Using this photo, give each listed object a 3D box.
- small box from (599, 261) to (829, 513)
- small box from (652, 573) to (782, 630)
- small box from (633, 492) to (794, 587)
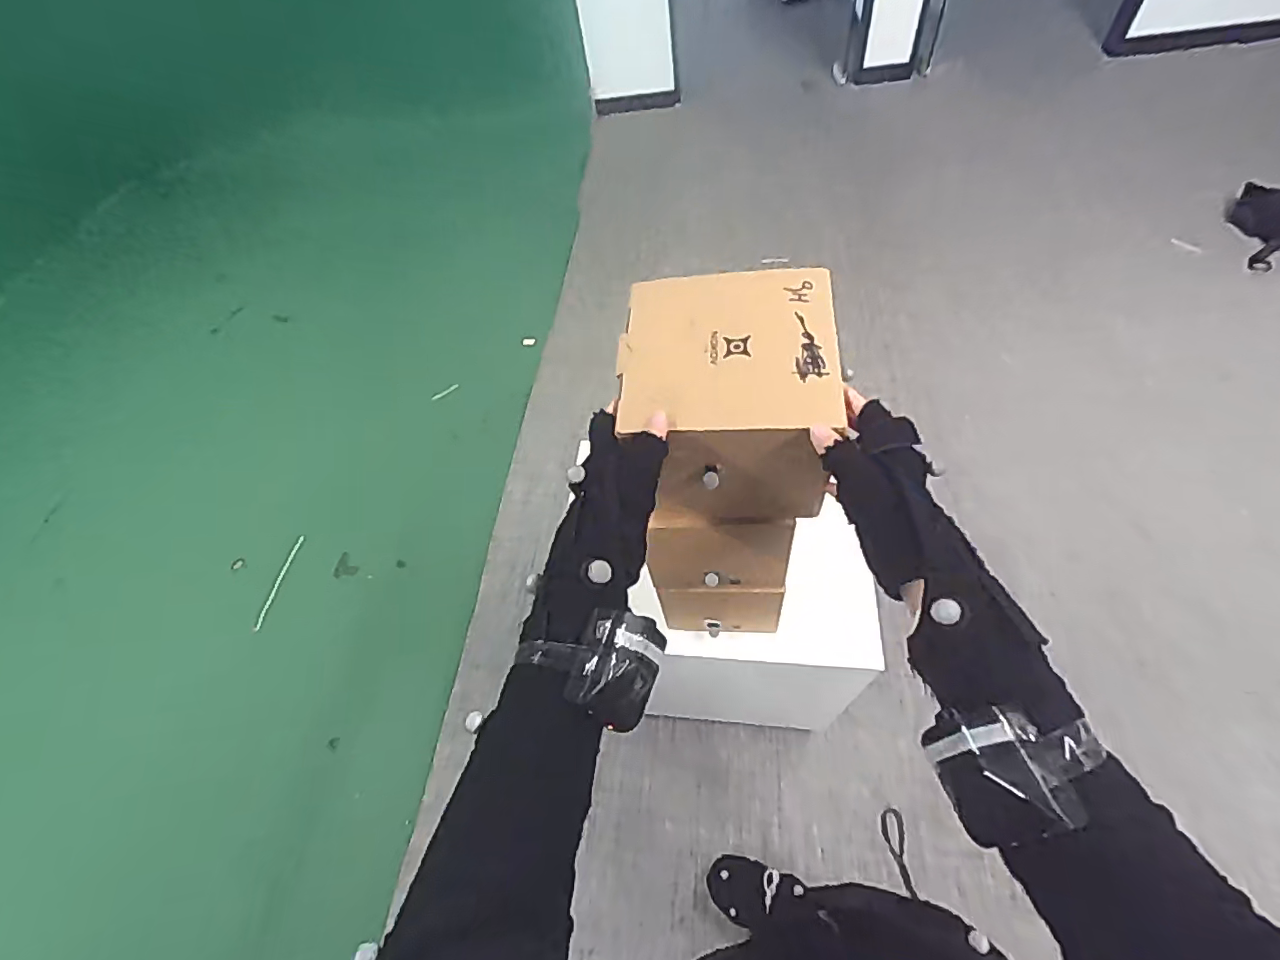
[{"bbox_3d":[0.074,-0.074,0.508,0.179,0.176,0.168,-1,63,11],"label":"small box"},{"bbox_3d":[0.113,0.106,0.789,0.168,0.176,0.179,-2,58,10],"label":"small box"},{"bbox_3d":[0.086,0.013,0.656,0.168,0.176,0.179,-5,55,8],"label":"small box"}]
